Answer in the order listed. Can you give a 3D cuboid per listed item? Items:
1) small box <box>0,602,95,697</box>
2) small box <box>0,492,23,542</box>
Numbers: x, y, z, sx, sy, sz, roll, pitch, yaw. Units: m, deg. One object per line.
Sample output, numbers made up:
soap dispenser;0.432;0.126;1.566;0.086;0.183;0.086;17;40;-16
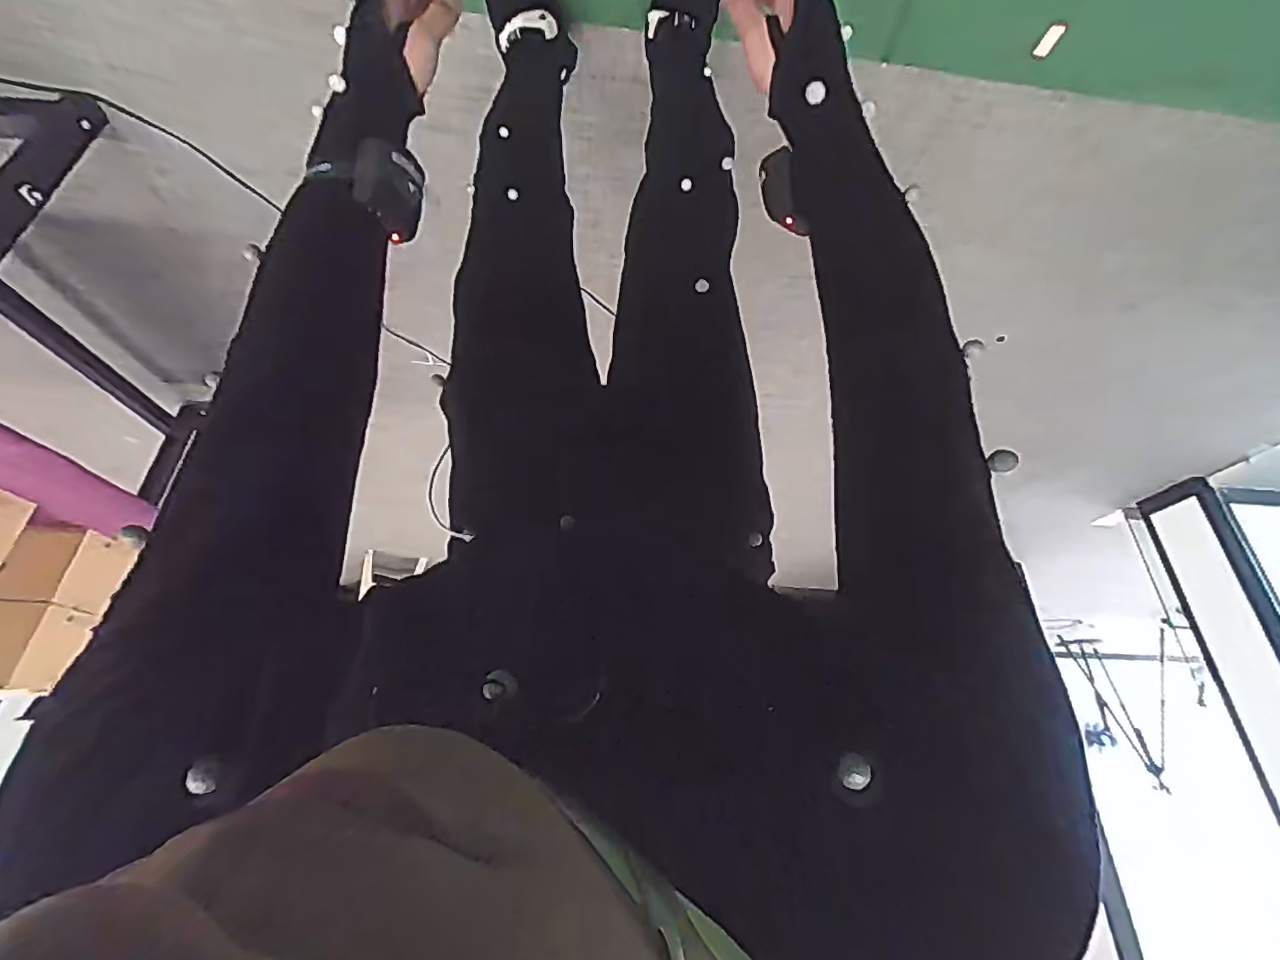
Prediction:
small box;-1.305;0.353;1.126;0.179;0.176;0.168;5;153;-3
small box;-1.273;0.077;0.943;0.179;0.176;0.168;4;154;-4
